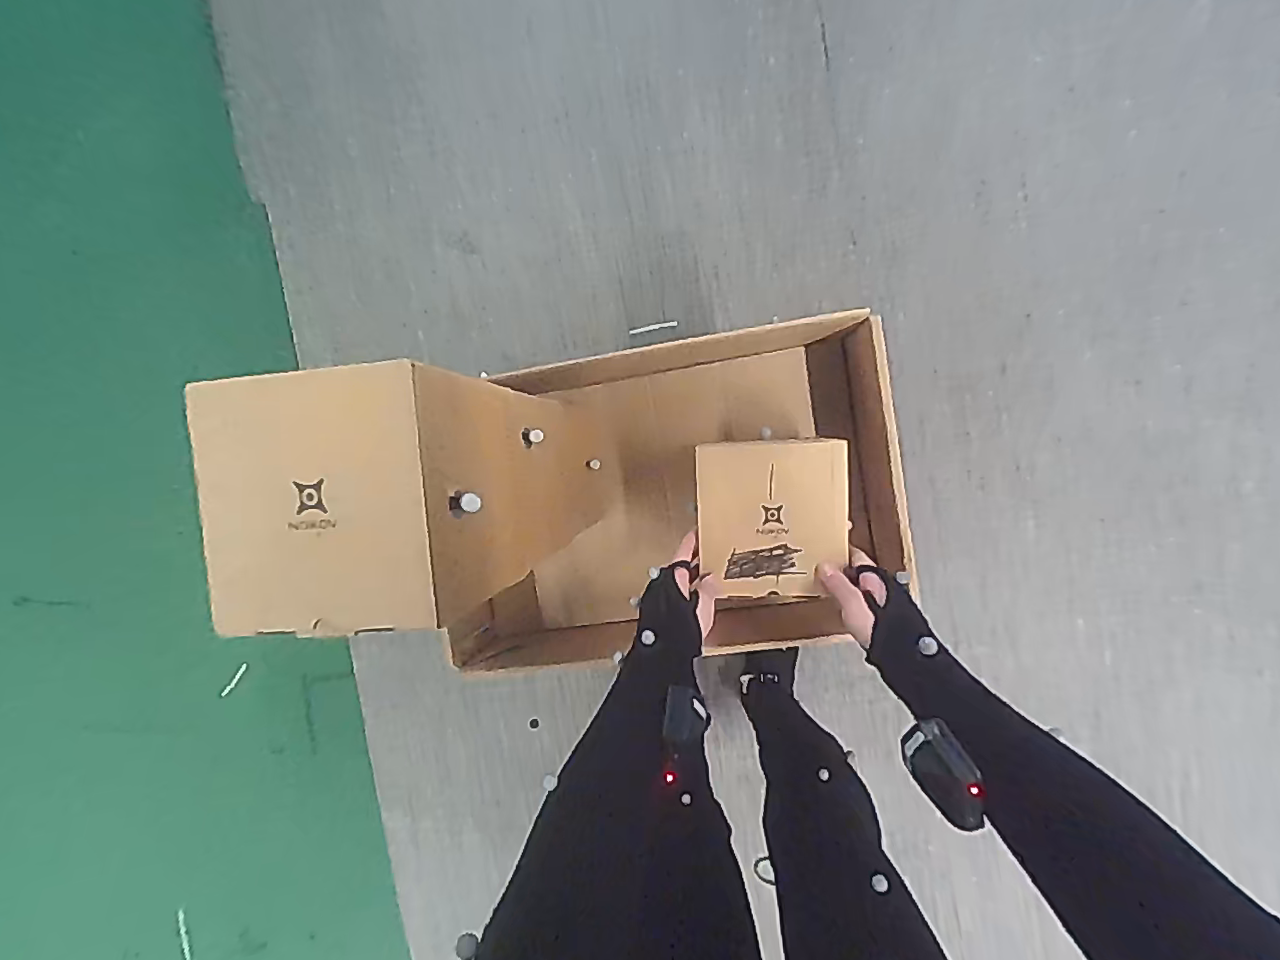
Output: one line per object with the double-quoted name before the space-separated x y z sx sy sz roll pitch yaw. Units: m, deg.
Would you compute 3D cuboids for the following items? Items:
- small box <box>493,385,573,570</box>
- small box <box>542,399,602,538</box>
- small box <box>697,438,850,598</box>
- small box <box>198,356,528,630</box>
"small box" -0.179 0.000 0.594 0.168 0.176 0.179 -5 93 9
"small box" -0.157 -0.009 0.756 0.168 0.176 0.179 -7 92 8
"small box" 0.159 0.039 0.681 0.168 0.176 0.179 -1 95 7
"small box" -0.198 0.008 0.433 0.168 0.176 0.179 -3 93 8
